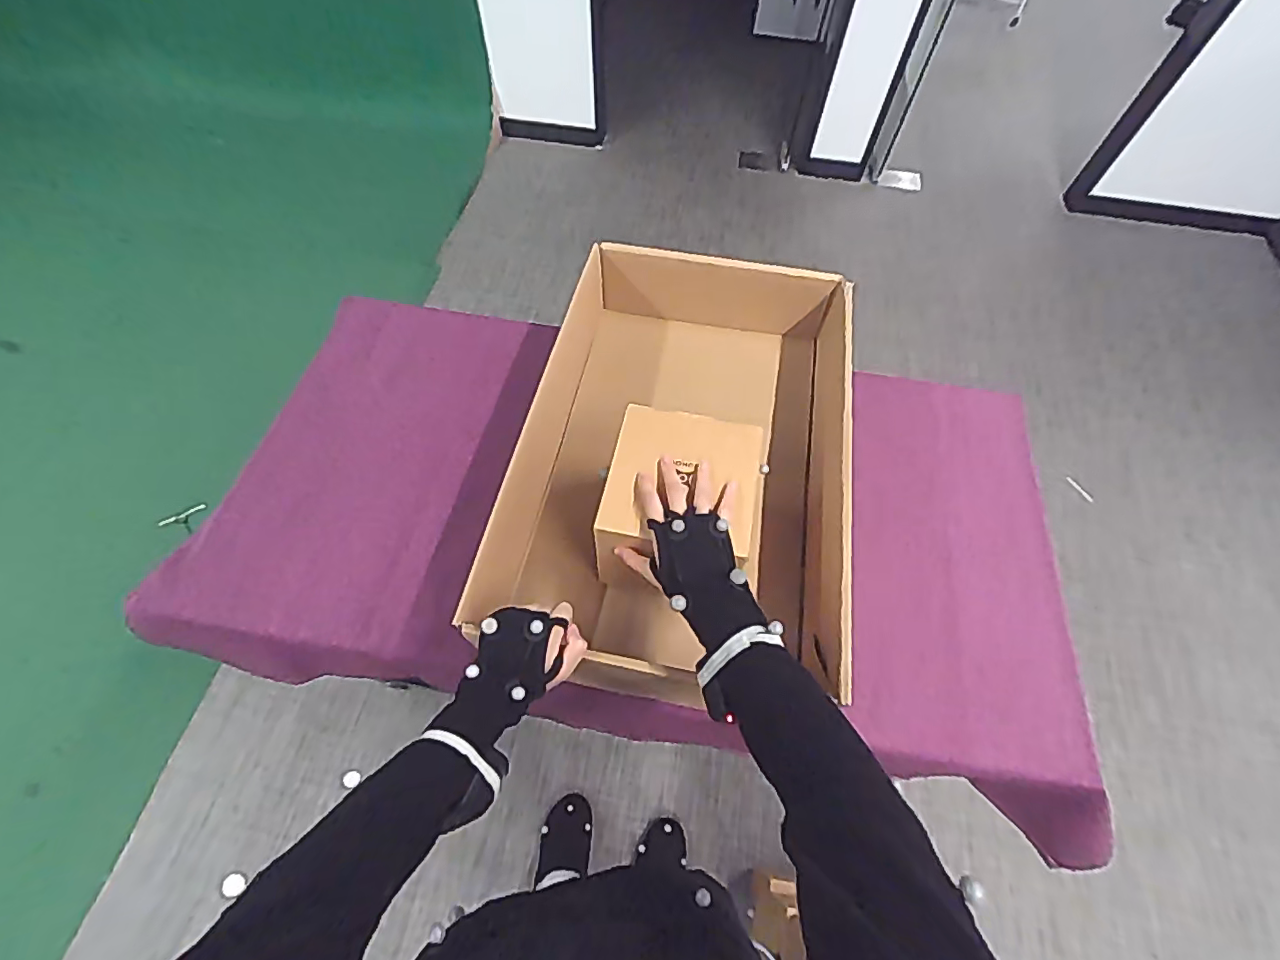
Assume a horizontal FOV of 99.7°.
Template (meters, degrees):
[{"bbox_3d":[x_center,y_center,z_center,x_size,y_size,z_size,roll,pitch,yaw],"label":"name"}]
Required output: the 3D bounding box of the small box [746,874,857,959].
[{"bbox_3d":[0.319,0.910,1.082,0.179,0.176,0.168,8,61,4],"label":"small box"}]

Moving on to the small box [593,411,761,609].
[{"bbox_3d":[0.047,0.044,0.673,0.168,0.176,0.179,11,58,6],"label":"small box"}]
